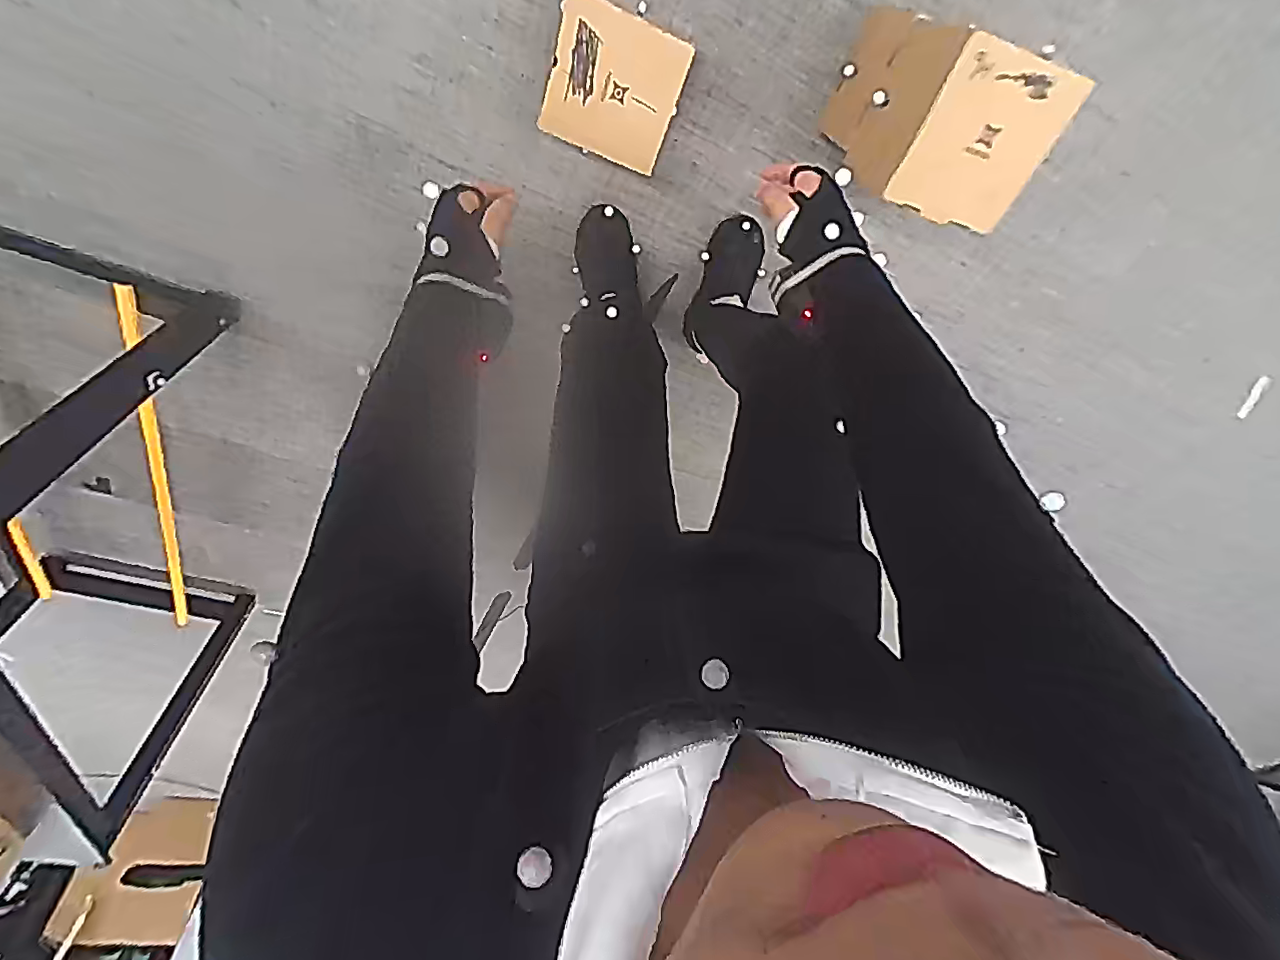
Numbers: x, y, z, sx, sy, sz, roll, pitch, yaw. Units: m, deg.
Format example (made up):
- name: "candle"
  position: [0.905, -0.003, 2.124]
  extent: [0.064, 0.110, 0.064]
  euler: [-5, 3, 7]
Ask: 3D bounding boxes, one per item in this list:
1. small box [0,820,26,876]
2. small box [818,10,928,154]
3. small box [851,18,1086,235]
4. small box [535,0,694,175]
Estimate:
- name: "small box"
  position: [-1.342, 0.742, 1.010]
  extent: [0.179, 0.176, 0.168]
  euler: [15, 132, -16]
- name: "small box"
  position: [0.402, -0.574, 0.814]
  extent: [0.179, 0.176, 0.168]
  euler: [13, 131, -13]
- name: "small box"
  position: [0.399, -0.457, 0.700]
  extent: [0.168, 0.176, 0.179]
  euler: [12, 132, -13]
- name: "small box"
  position: [-0.040, -0.585, 0.791]
  extent: [0.179, 0.176, 0.168]
  euler: [15, 131, -16]
